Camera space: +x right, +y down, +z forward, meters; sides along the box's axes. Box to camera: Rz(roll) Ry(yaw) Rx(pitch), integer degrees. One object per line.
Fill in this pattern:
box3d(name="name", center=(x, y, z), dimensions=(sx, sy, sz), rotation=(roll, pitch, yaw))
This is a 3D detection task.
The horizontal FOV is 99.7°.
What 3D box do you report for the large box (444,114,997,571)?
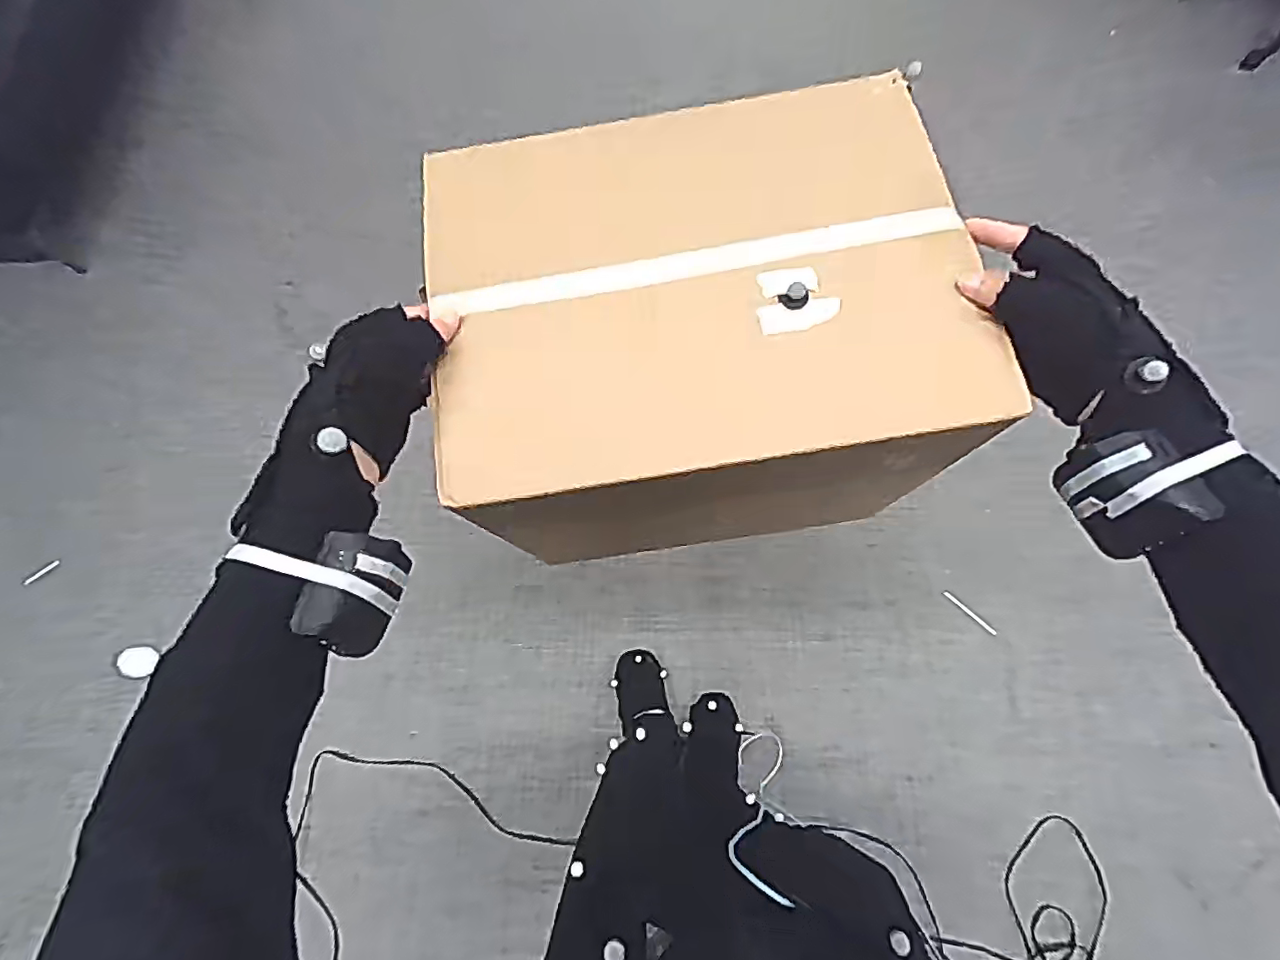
box3d(name="large box", center=(0.049, -0.106, 0.577), dimensions=(0.408, 0.320, 0.320), rotation=(-9, 72, 1))
